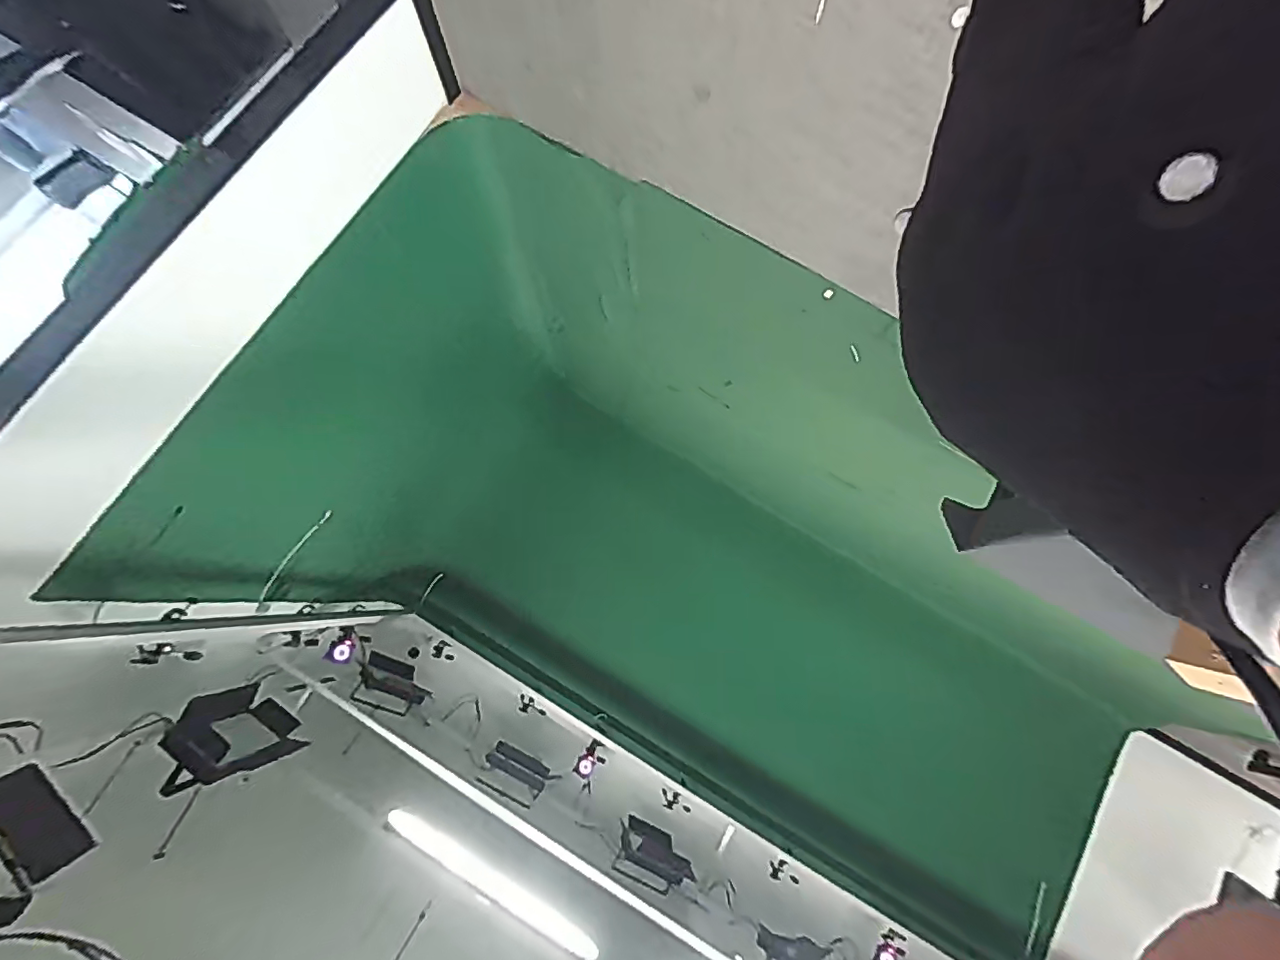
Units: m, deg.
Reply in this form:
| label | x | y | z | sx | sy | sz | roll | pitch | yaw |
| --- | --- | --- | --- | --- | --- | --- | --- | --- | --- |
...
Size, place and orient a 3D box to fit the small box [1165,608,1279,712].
| label | x | y | z | sx | sy | sz | roll | pitch | yaw |
| --- | --- | --- | --- | --- | --- | --- | --- | --- | --- |
| small box | 1.505 | 0.449 | 1.376 | 0.168 | 0.176 | 0.179 | 37 | 168 | -19 |
